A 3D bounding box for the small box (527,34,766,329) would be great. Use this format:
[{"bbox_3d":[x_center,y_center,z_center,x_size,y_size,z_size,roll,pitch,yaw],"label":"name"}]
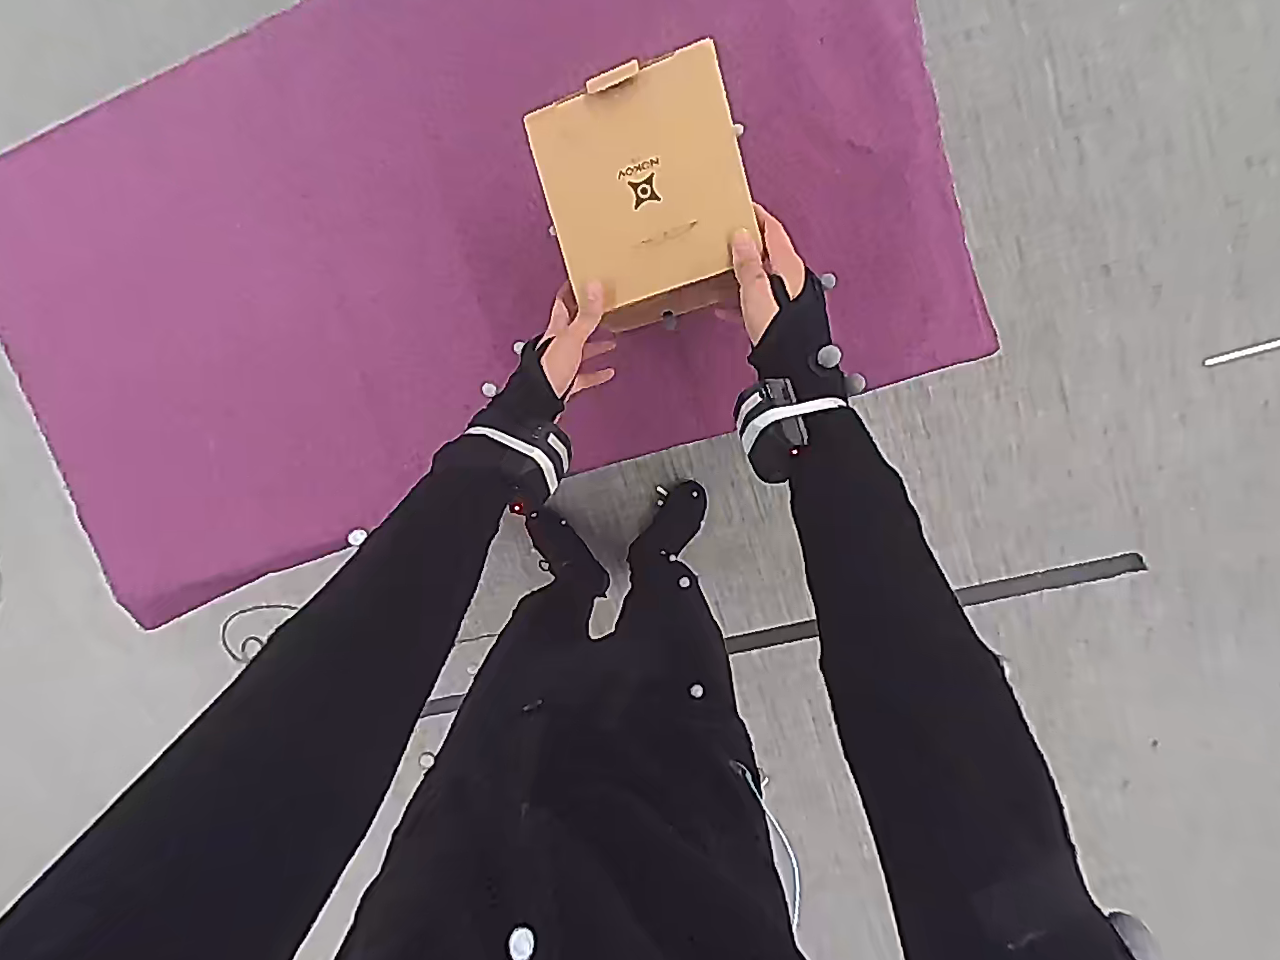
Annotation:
[{"bbox_3d":[0.016,-0.258,0.518,0.168,0.176,0.179,-14,98,12],"label":"small box"}]
